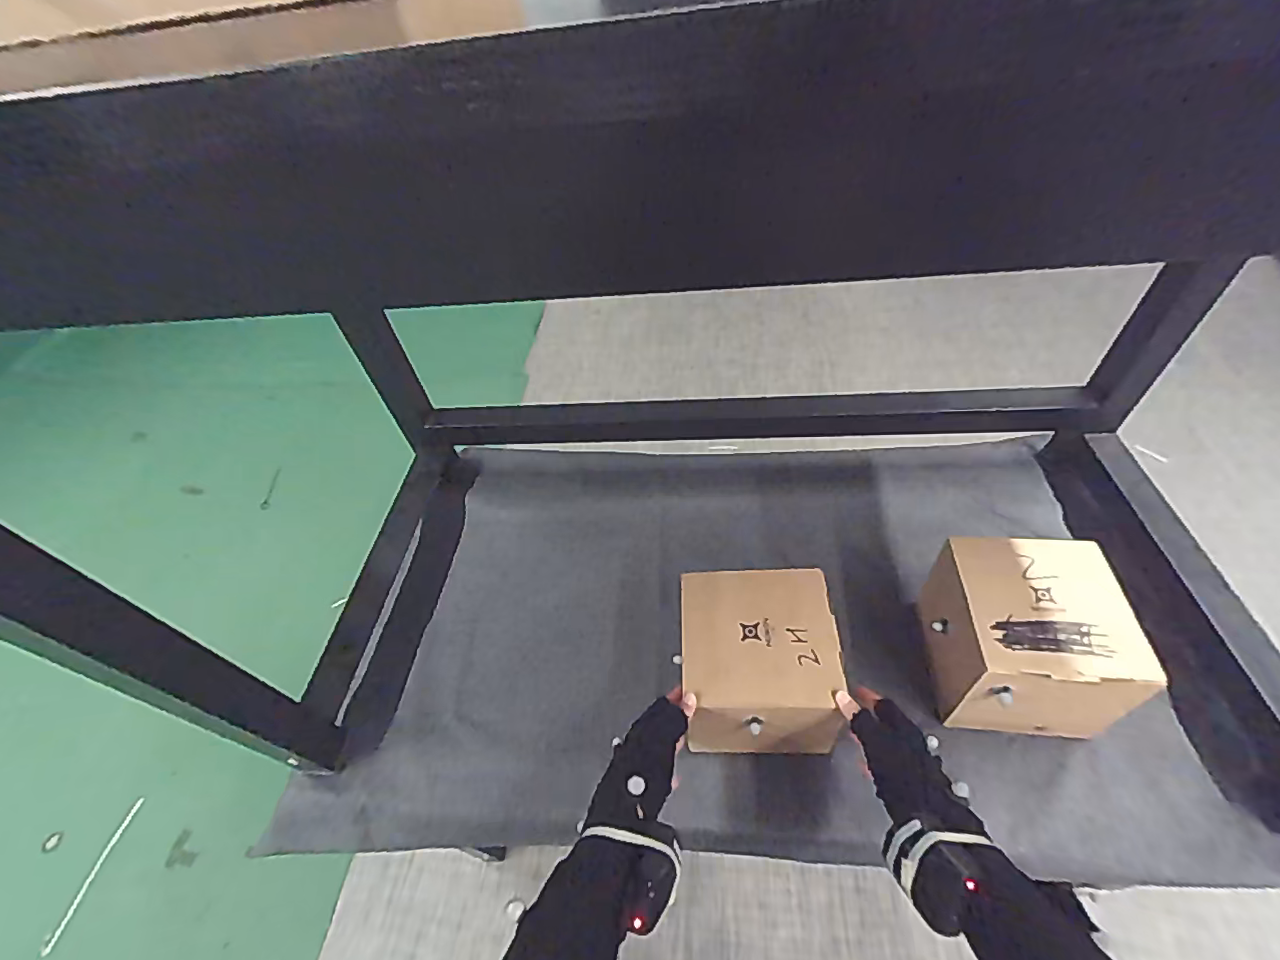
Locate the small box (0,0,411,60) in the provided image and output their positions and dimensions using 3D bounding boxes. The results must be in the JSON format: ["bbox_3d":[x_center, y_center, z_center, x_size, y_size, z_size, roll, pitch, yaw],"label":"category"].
[{"bbox_3d":[-0.165,-0.262,0.179,0.168,0.176,0.179,-2,48,7],"label":"small box"}]

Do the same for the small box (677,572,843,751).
[{"bbox_3d":[0.140,0.230,0.679,0.179,0.176,0.168,-2,49,7],"label":"small box"}]
